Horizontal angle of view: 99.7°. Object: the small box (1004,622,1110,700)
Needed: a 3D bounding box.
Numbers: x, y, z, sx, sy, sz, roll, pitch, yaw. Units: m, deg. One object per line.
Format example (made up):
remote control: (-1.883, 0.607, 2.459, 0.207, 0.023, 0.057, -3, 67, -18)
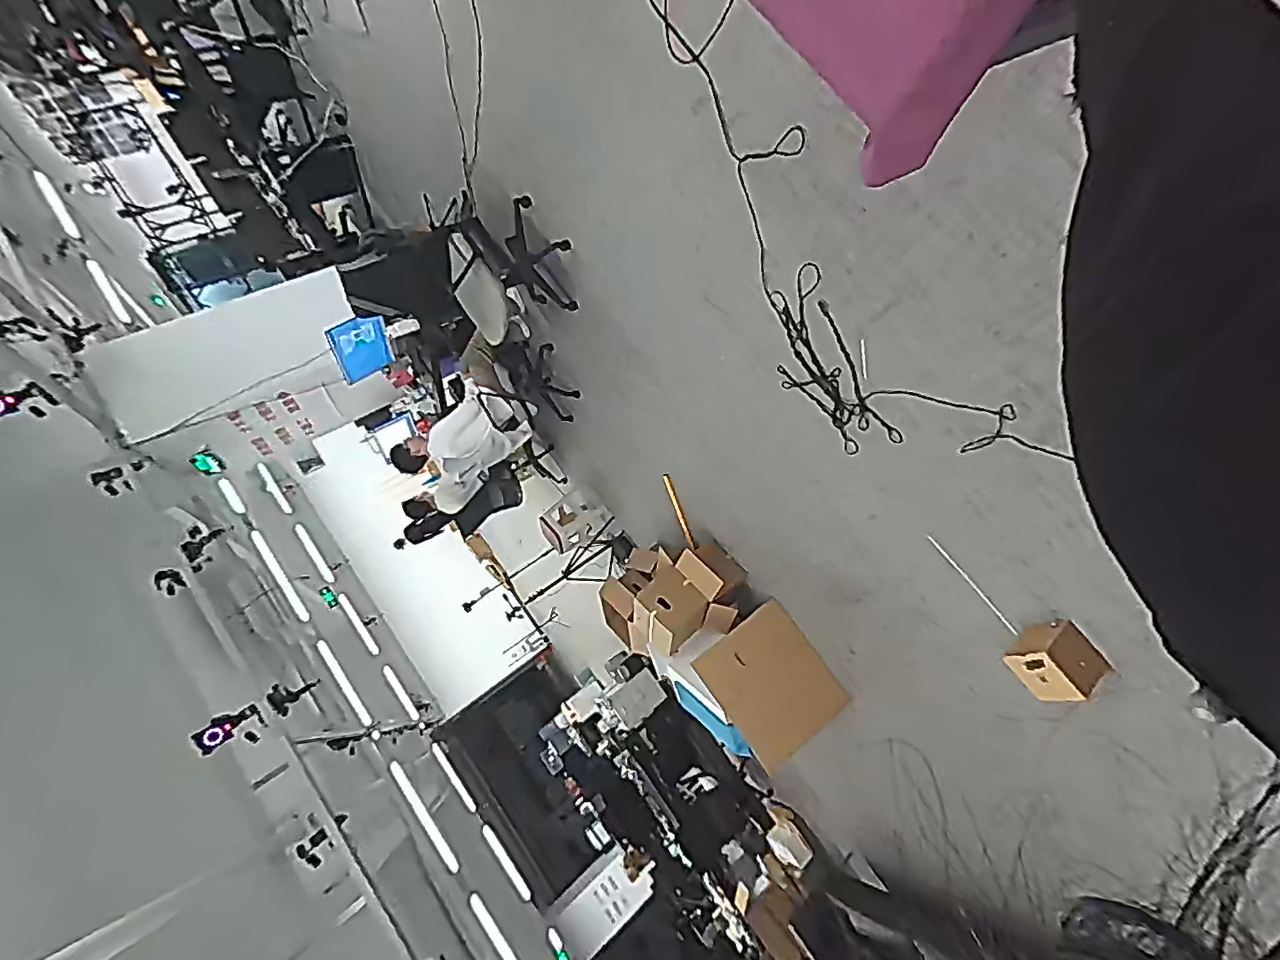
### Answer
small box: (1.318, 0.568, 1.710, 0.179, 0.176, 0.168, 51, 156, 10)
